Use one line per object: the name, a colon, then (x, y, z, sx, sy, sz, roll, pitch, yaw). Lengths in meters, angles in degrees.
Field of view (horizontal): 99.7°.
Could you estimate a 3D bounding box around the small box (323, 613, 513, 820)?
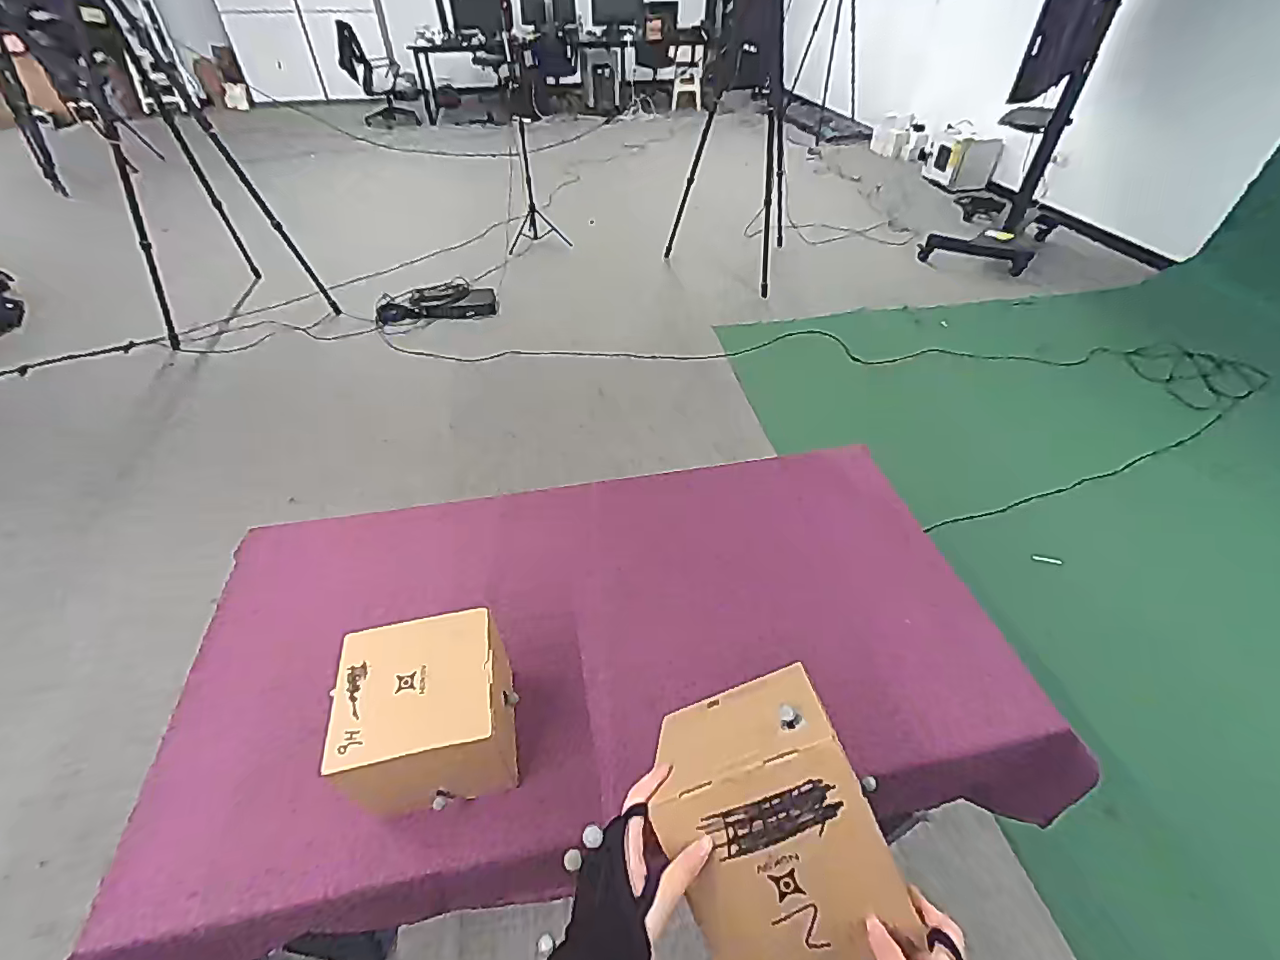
small box: (-0.256, 0.293, 0.672, 0.179, 0.176, 0.168, -9, 44, -10)
